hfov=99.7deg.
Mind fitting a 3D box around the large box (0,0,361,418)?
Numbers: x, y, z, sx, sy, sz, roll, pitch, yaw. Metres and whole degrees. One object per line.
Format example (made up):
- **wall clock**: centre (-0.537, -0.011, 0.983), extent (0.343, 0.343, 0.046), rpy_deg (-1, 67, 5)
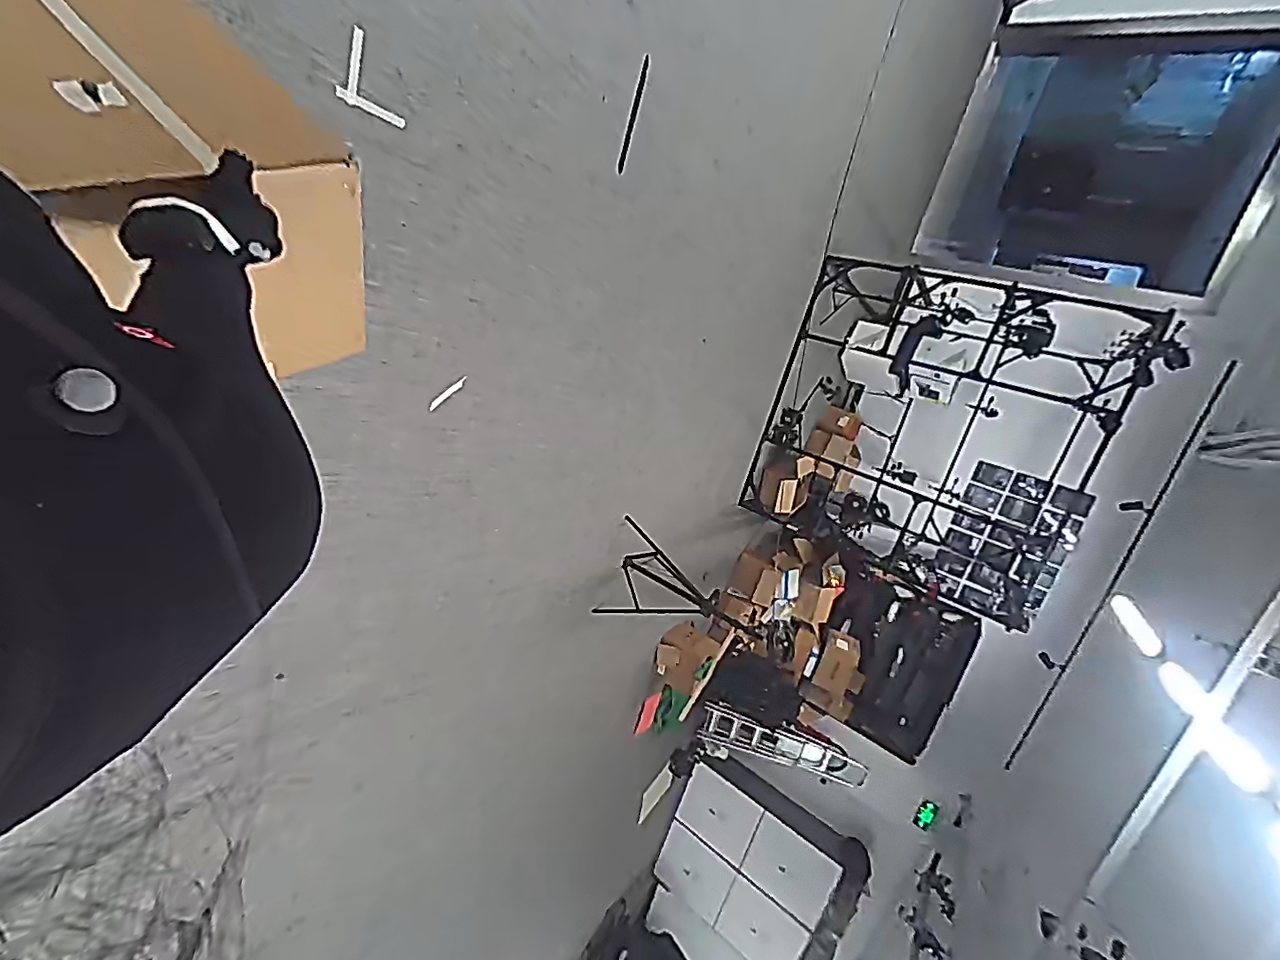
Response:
- **large box**: centre (-0.630, -0.362, 0.705), extent (0.320, 0.408, 0.320), rpy_deg (-39, 169, -38)
